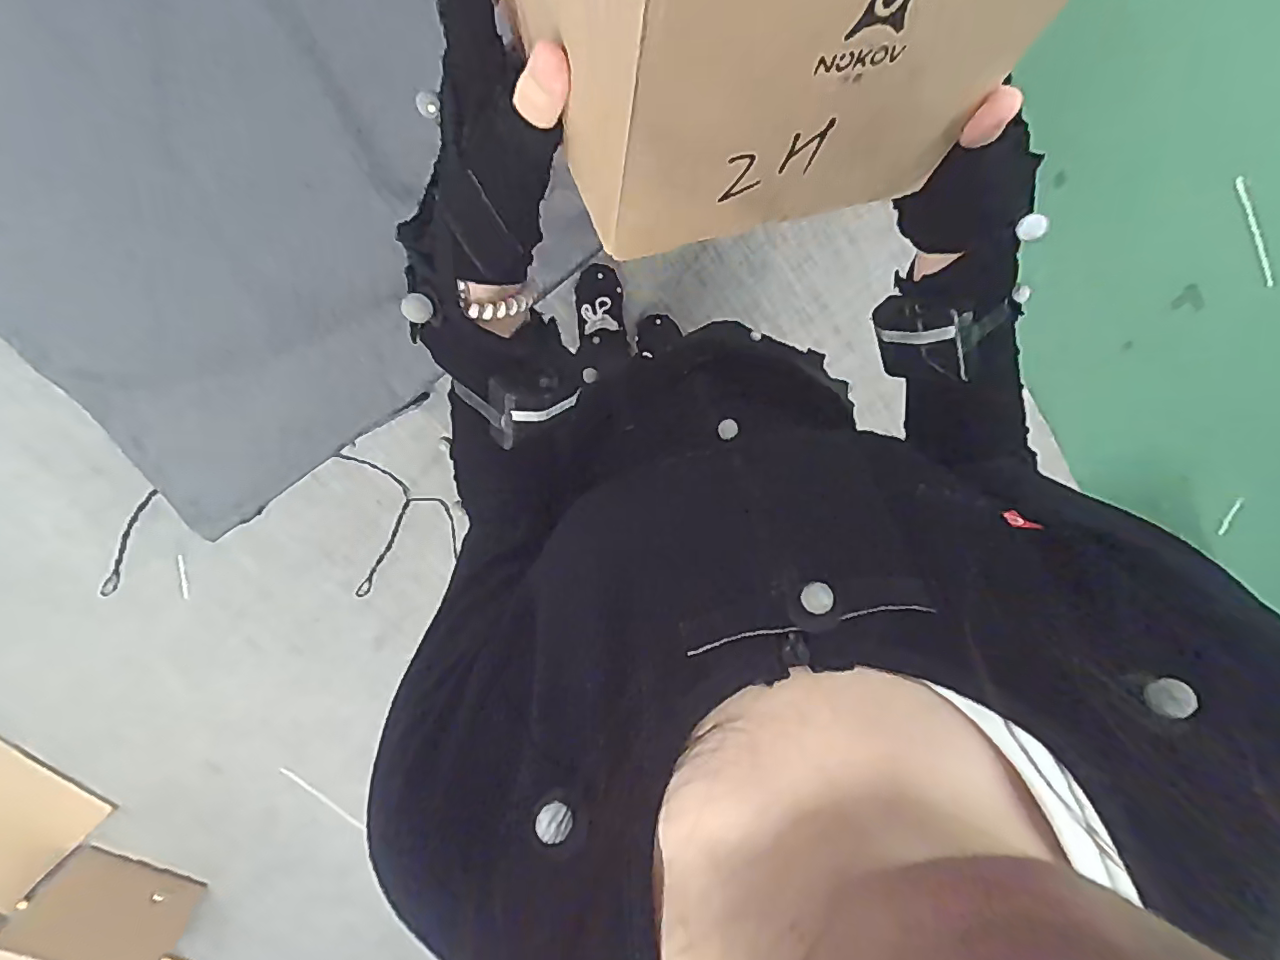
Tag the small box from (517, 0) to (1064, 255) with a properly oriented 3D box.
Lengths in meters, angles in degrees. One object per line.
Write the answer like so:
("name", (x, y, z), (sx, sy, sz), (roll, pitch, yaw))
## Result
("small box", (0.046, -0.220, 0.191), (0.168, 0.179, 0.176), (-18, 74, -15))
